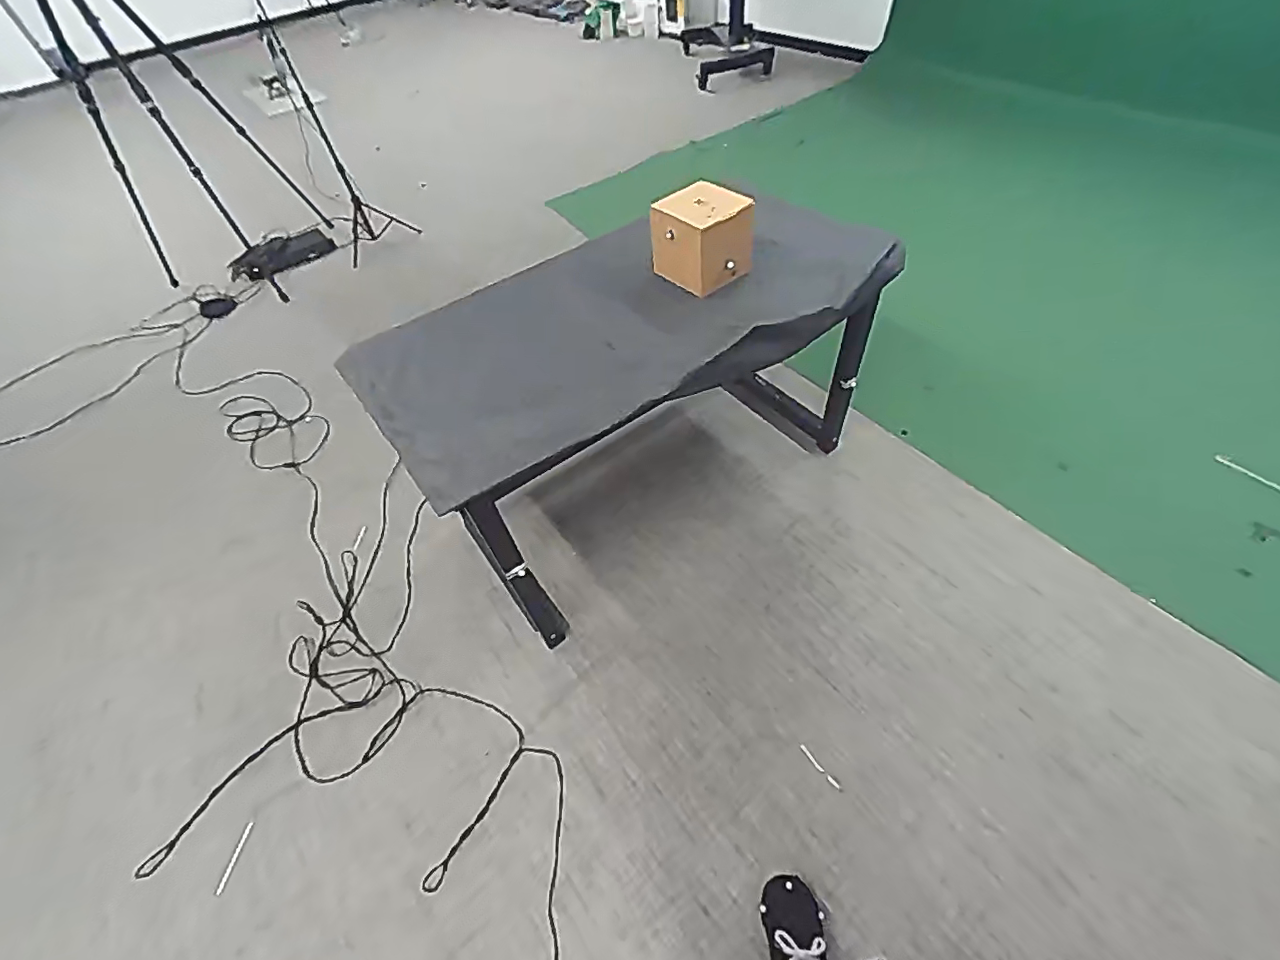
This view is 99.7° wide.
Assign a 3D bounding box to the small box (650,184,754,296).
[{"bbox_3d":[0.143,-0.563,1.272,0.168,0.176,0.179,-35,56,-20],"label":"small box"}]
